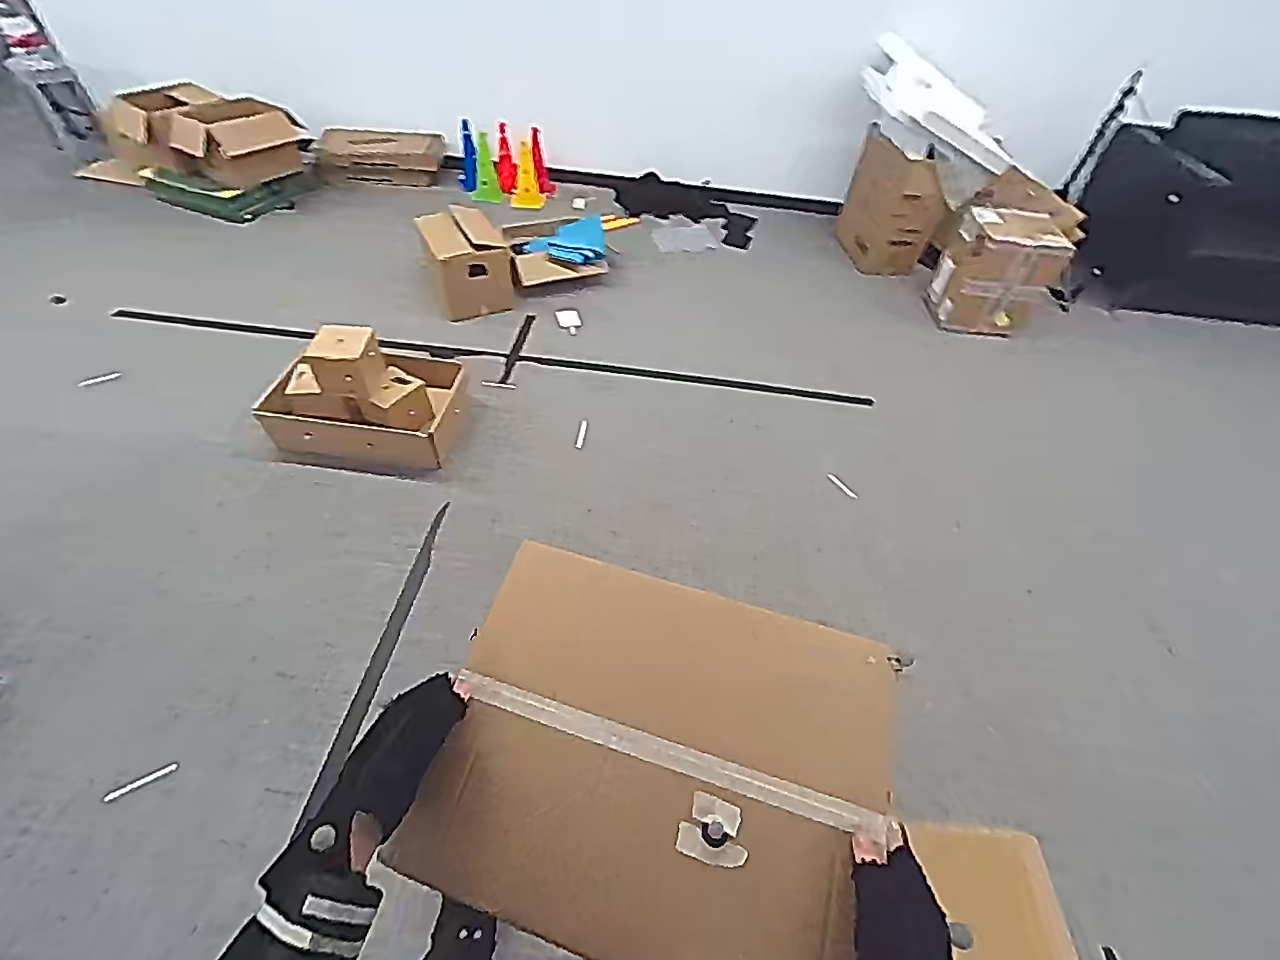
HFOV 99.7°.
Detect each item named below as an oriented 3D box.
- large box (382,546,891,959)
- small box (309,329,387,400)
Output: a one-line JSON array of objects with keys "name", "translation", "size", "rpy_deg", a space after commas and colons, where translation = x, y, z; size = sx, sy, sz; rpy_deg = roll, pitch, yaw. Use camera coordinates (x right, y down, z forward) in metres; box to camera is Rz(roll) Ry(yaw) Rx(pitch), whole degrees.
[{"name": "large box", "translation": [0.018, 0.315, 0.616], "size": [0.408, 0.320, 0.320], "rpy_deg": [13, 61, 11]}, {"name": "small box", "translation": [-0.982, -0.389, 1.839], "size": [0.168, 0.176, 0.179], "rpy_deg": [3, 48, -5]}]
